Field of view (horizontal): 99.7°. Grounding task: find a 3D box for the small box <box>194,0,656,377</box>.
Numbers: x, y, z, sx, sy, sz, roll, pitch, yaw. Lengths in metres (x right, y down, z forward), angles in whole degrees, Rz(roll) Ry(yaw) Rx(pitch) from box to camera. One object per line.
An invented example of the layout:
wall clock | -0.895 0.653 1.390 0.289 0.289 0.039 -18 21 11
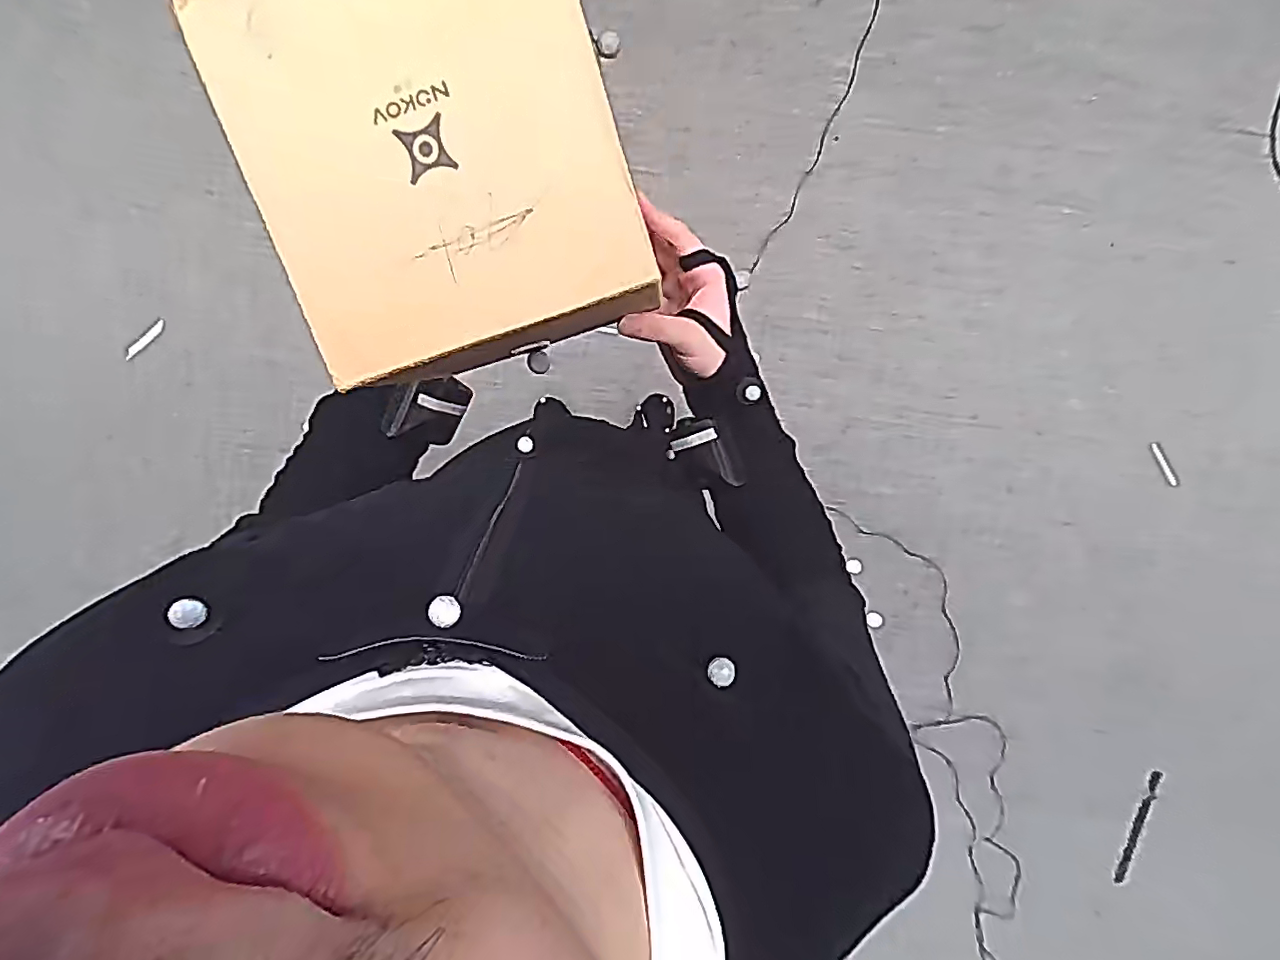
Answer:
small box | -0.092 -0.171 0.325 0.168 0.176 0.179 -16 103 7
